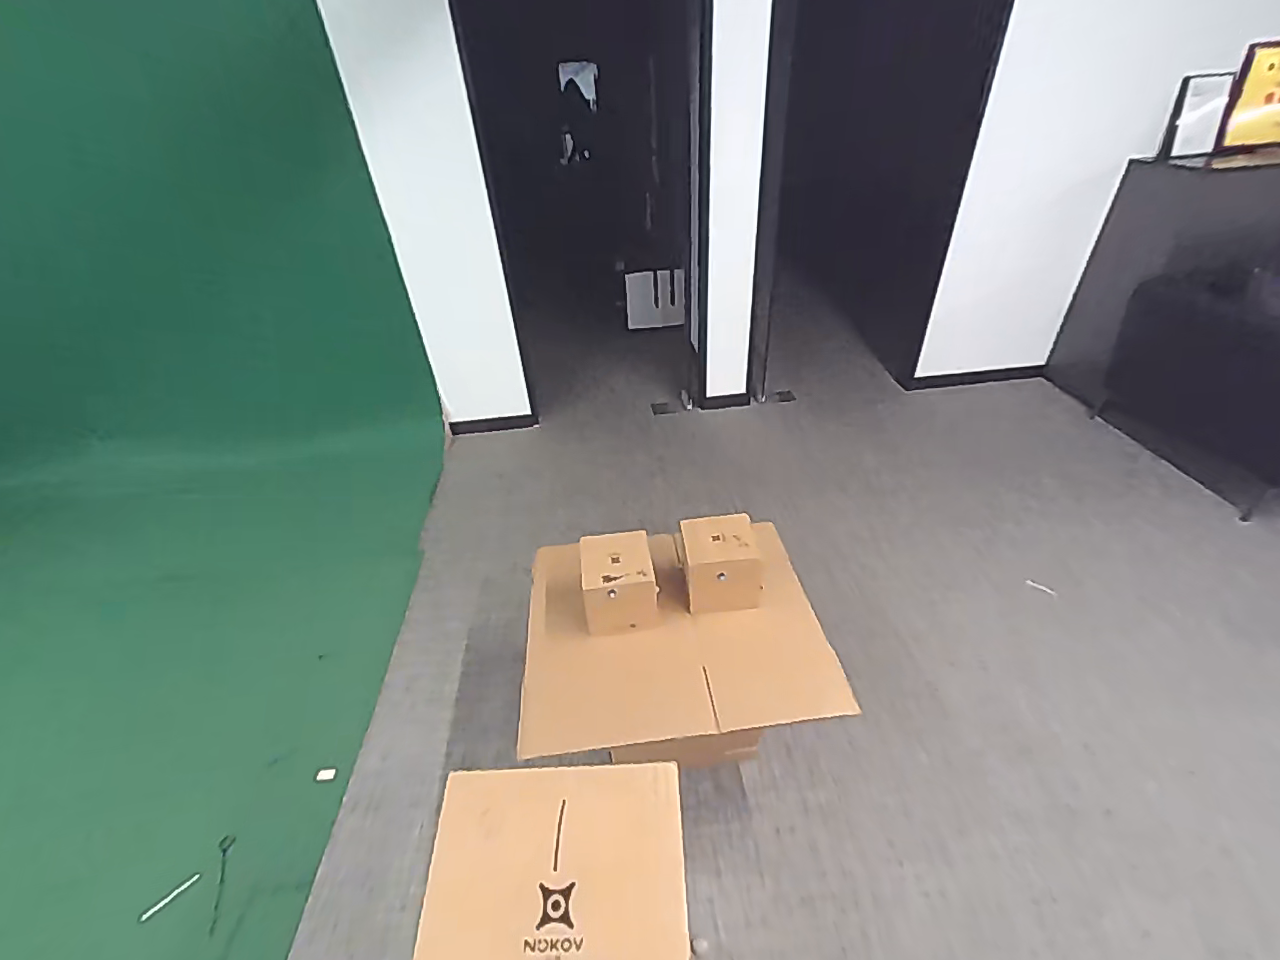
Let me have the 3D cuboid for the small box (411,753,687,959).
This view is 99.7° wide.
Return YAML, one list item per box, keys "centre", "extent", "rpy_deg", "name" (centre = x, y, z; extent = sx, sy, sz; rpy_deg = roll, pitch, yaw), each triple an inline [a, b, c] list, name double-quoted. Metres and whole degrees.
- centre: [-0.050, 0.319, 0.392]
  extent: [0.168, 0.176, 0.179]
  rpy_deg: [-3, 47, 1]
  name: "small box"

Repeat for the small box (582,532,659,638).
- centre: [-0.048, 0.251, 1.305]
  extent: [0.168, 0.176, 0.179]
  rpy_deg: [-7, 35, -3]
  name: "small box"

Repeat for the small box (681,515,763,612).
- centre: [0.200, 0.209, 1.339]
  extent: [0.179, 0.176, 0.168]
  rpy_deg: [-6, 36, 1]
  name: "small box"
